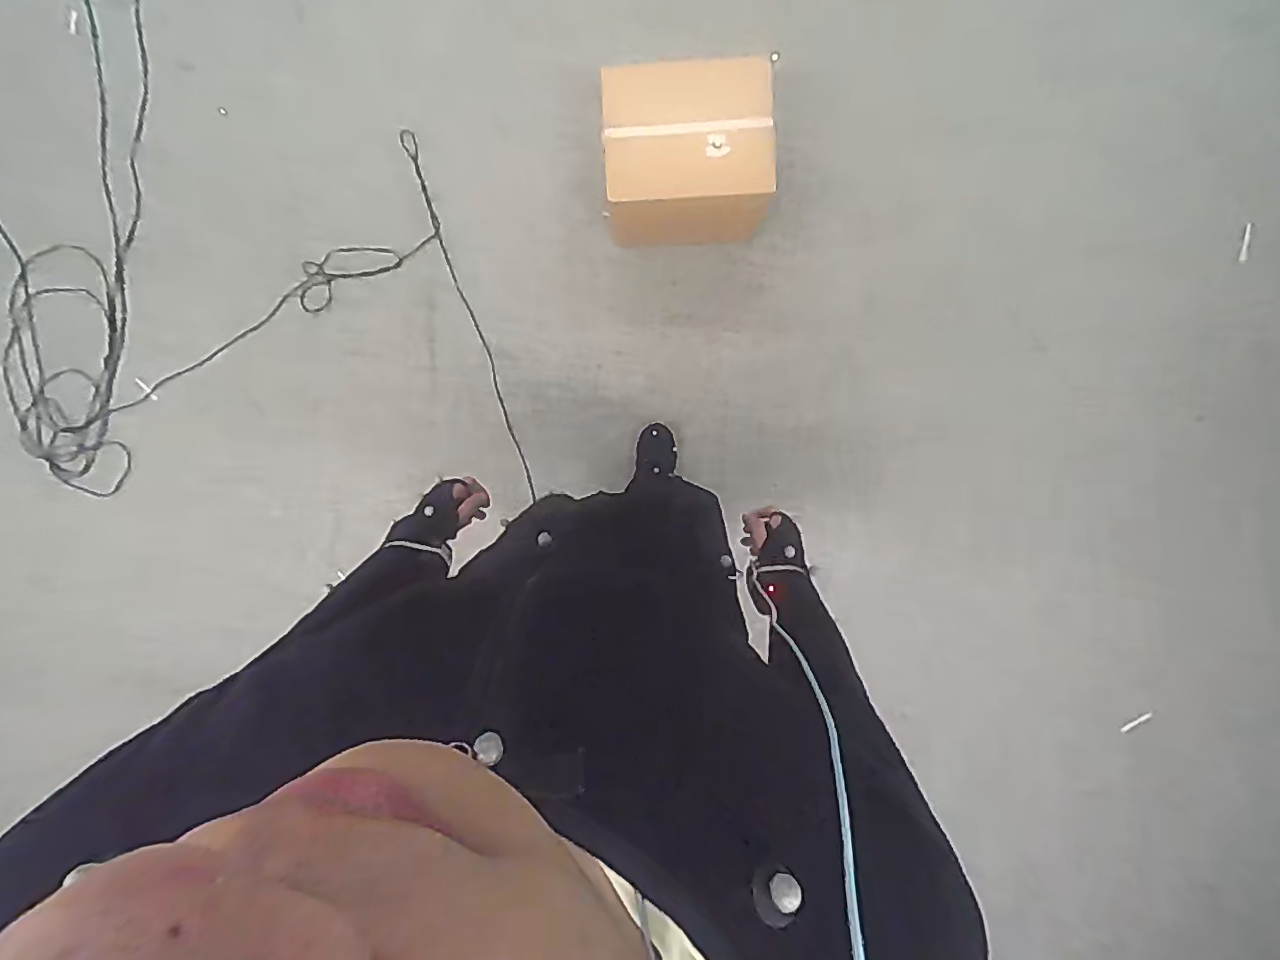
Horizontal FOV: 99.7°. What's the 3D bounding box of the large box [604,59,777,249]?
[{"bbox_3d":[0.122,-0.831,1.426,0.408,0.320,0.320,-2,93,2],"label":"large box"}]
